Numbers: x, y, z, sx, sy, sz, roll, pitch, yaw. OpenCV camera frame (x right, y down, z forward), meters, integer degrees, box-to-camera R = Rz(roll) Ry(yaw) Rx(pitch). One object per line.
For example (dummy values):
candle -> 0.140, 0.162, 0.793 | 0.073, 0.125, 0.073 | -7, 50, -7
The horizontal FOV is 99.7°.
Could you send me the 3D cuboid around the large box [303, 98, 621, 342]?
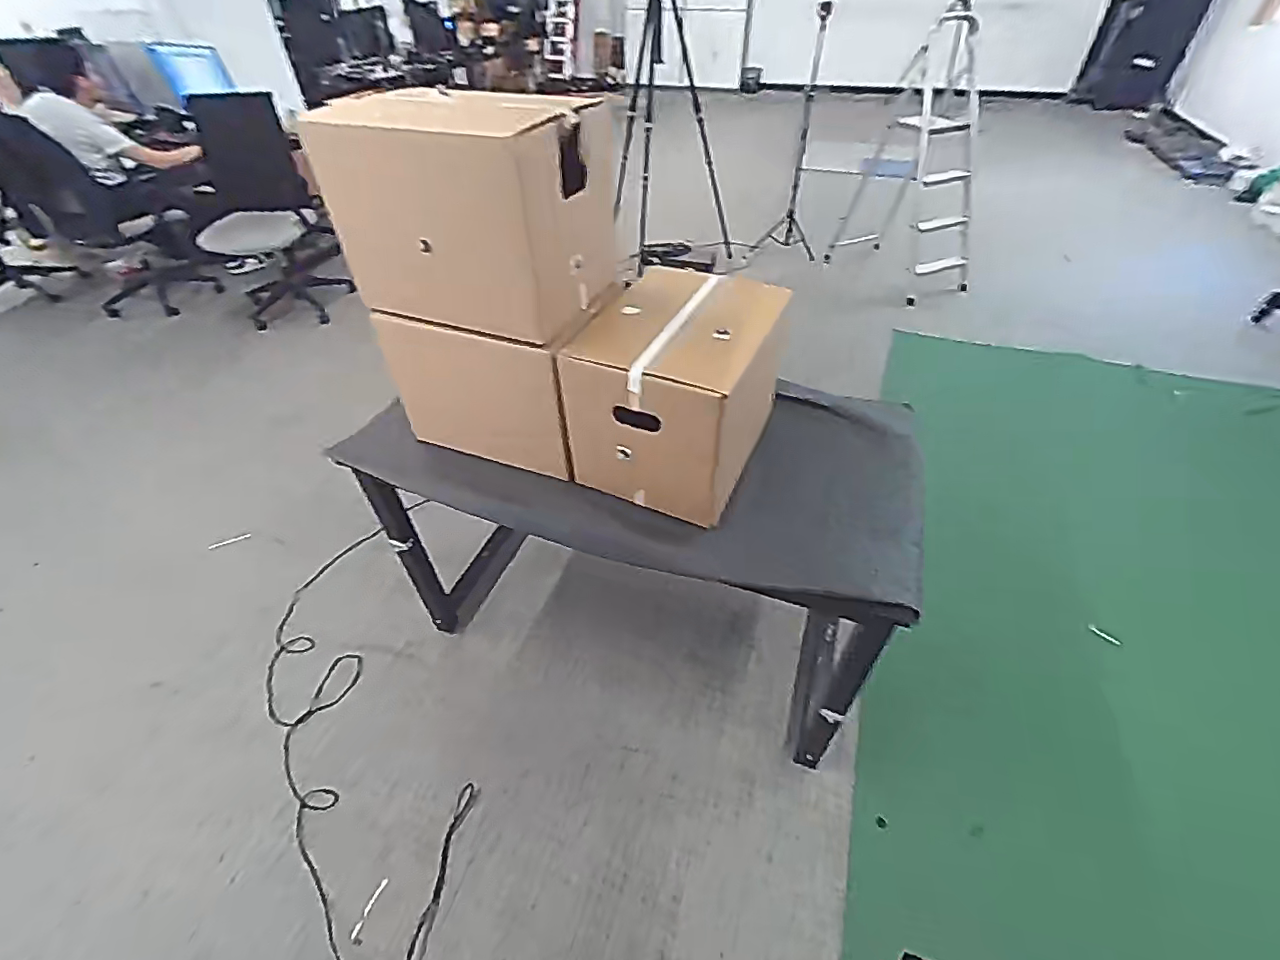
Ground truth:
large box -> -0.281, -0.481, 0.983 | 0.408, 0.320, 0.320 | 15, 45, 18
